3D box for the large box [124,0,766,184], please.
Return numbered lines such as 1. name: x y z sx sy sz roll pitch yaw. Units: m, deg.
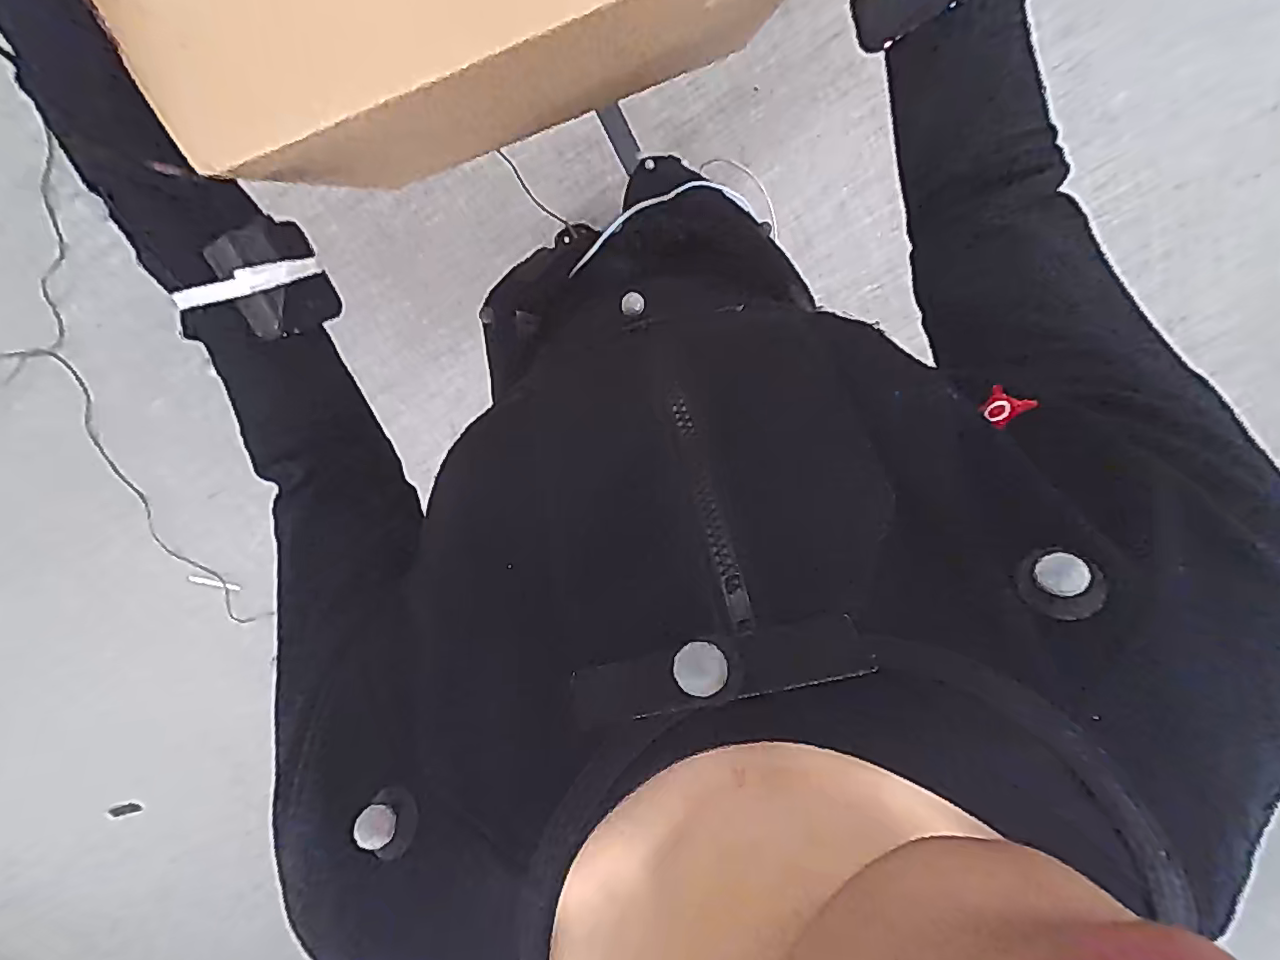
1. large box: -0.122 -0.444 0.367 0.408 0.320 0.320 -19 117 5
